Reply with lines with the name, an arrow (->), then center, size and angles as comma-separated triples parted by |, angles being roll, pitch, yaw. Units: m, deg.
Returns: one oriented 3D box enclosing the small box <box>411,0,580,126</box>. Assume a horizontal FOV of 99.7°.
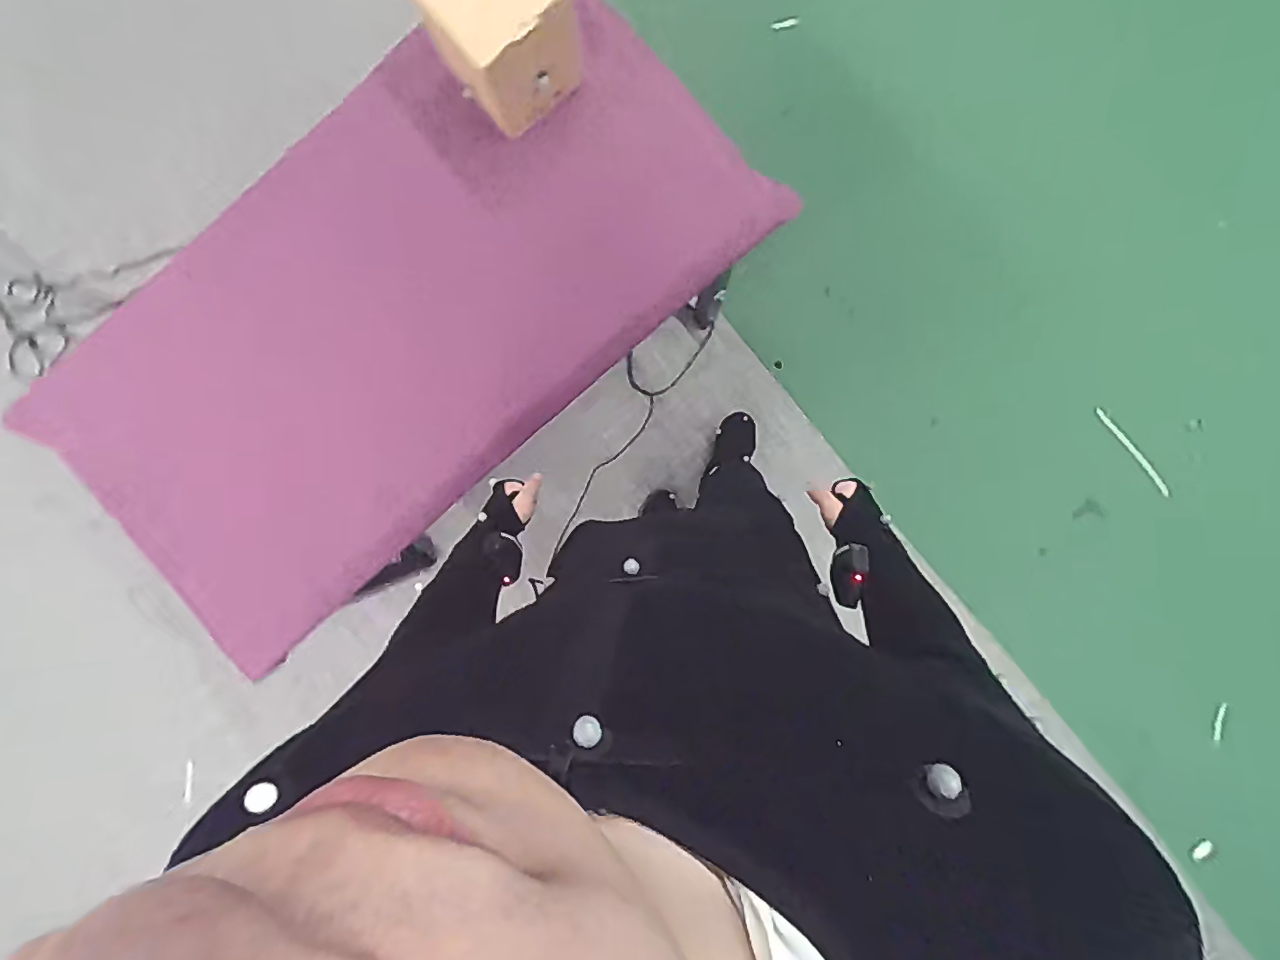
small box -> -0.211, -0.683, 0.818 | 0.168, 0.176, 0.179 | -41, 89, 4
